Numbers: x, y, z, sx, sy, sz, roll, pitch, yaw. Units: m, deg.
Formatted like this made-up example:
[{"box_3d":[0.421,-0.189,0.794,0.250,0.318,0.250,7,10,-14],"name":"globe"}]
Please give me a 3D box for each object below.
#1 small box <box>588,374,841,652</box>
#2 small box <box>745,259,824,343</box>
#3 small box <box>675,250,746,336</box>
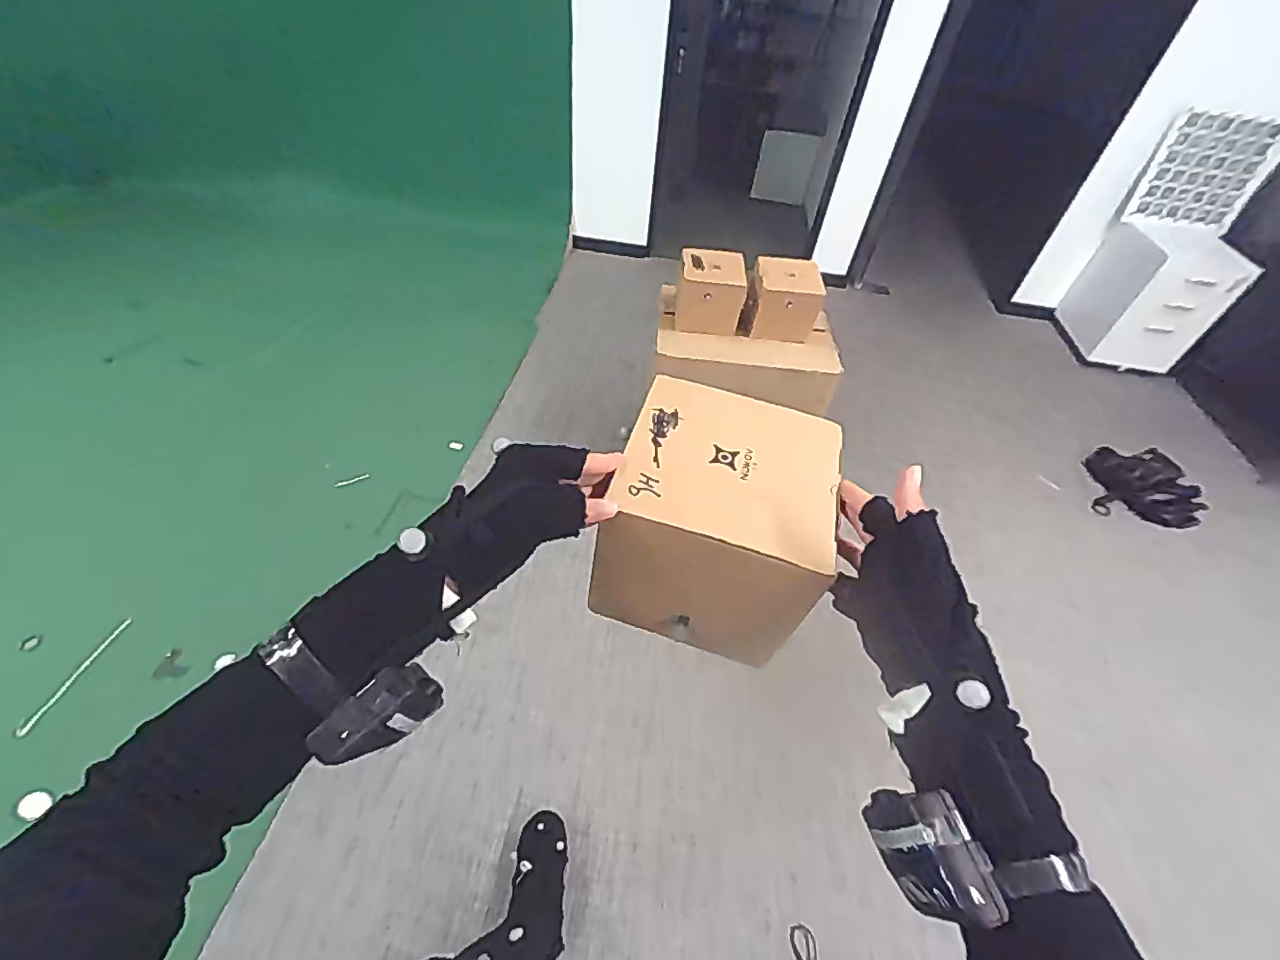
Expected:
[{"box_3d":[0.064,0.036,0.502,0.179,0.176,0.168,18,48,3],"name":"small box"},{"box_3d":[0.410,-0.518,1.576,0.179,0.176,0.168,5,53,-5],"name":"small box"},{"box_3d":[0.197,-0.538,1.566,0.179,0.176,0.168,5,52,-3],"name":"small box"}]
